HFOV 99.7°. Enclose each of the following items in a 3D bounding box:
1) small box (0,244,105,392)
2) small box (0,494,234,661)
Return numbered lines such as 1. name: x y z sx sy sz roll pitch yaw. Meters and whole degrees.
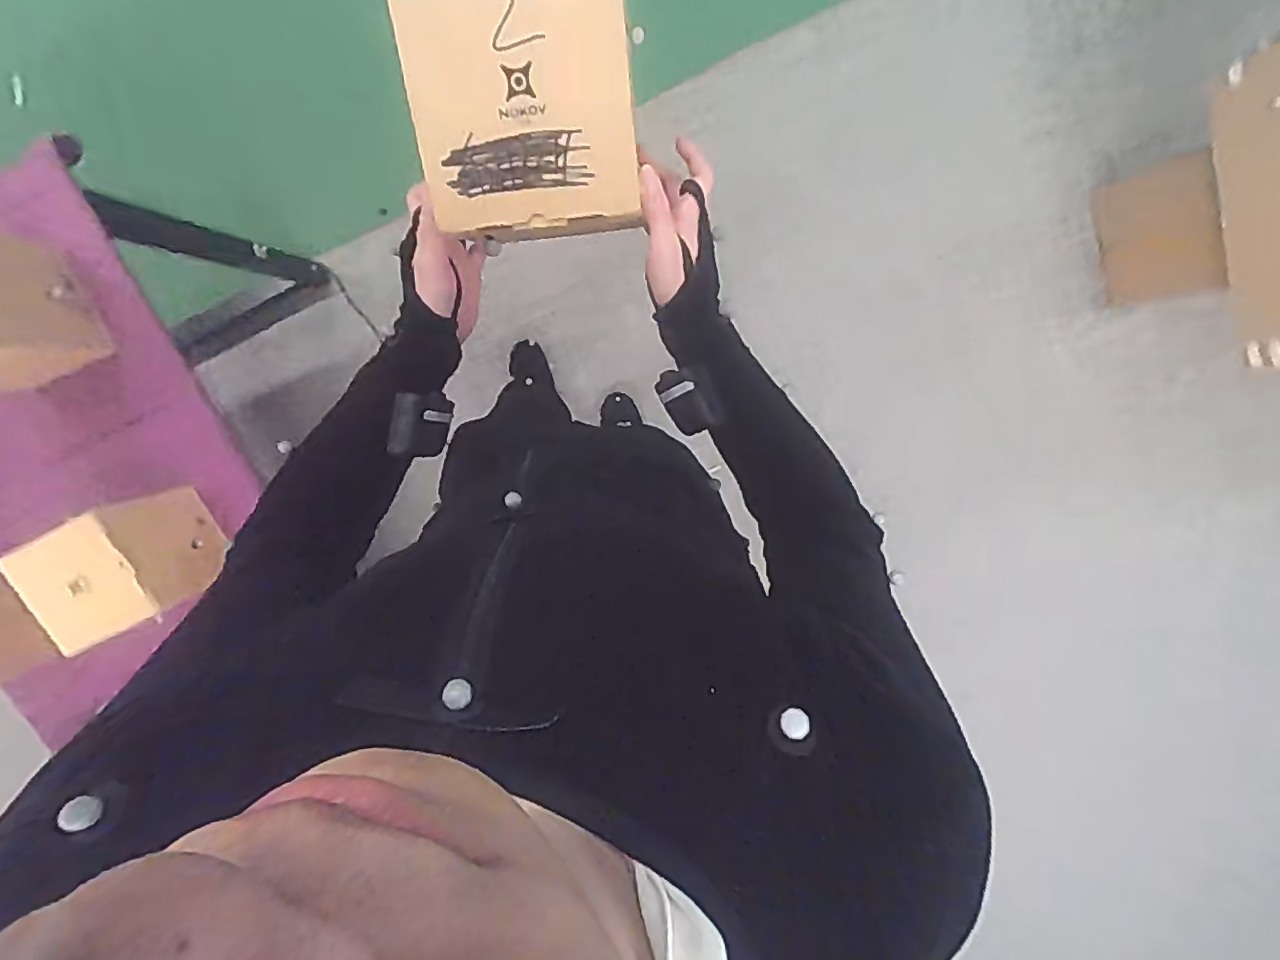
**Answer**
1. small box: -0.942 -0.224 0.764 0.179 0.176 0.168 -21 102 5
2. small box: -0.796 0.141 0.838 0.179 0.176 0.168 -26 99 6
